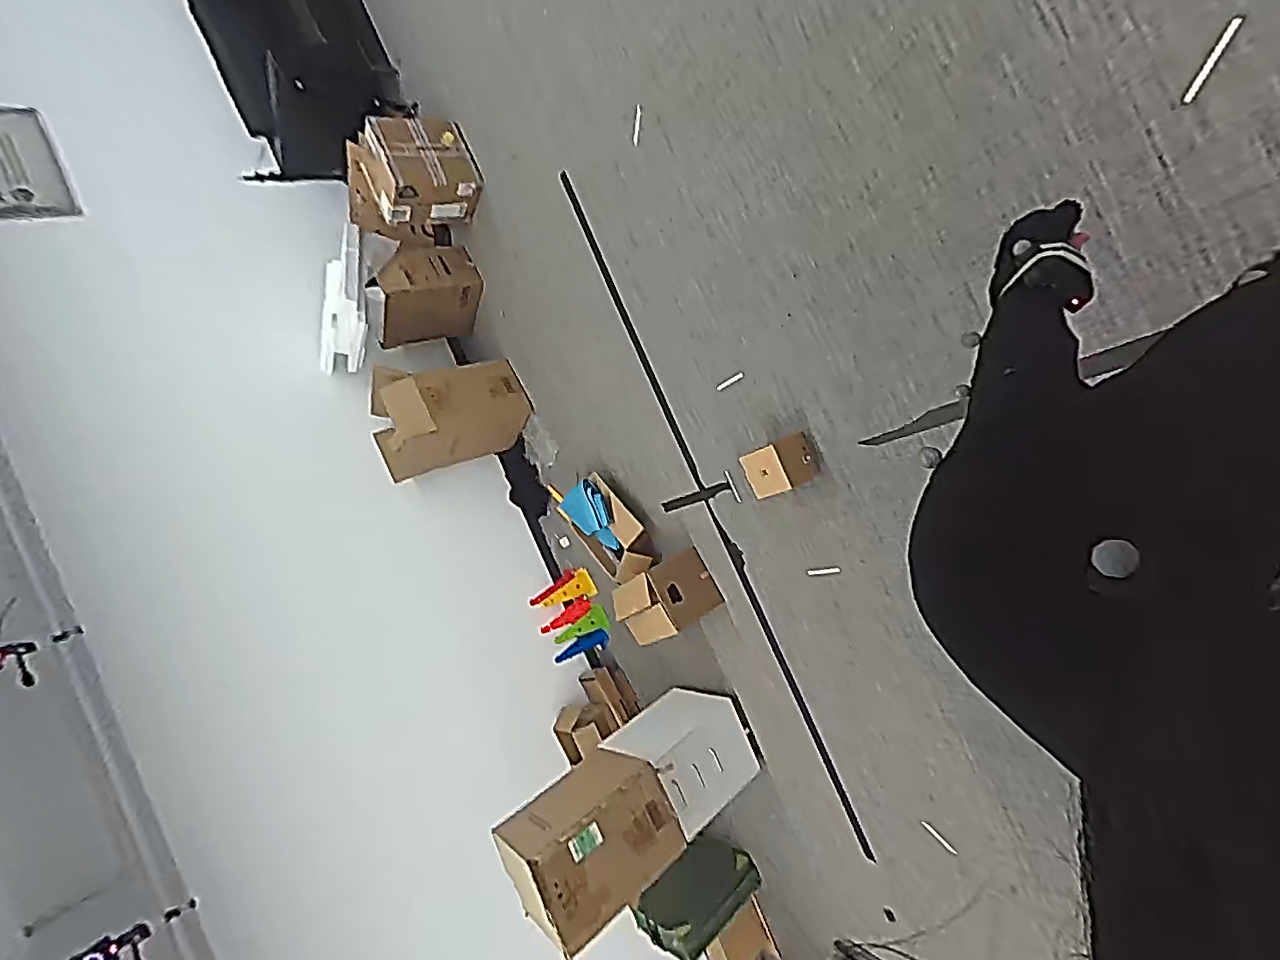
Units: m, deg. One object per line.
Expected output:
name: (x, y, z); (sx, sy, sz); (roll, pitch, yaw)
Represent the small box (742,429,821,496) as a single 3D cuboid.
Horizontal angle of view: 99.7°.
small box: (0.501, -0.062, 1.906); (0.179, 0.176, 0.168); (-26, 89, 56)
